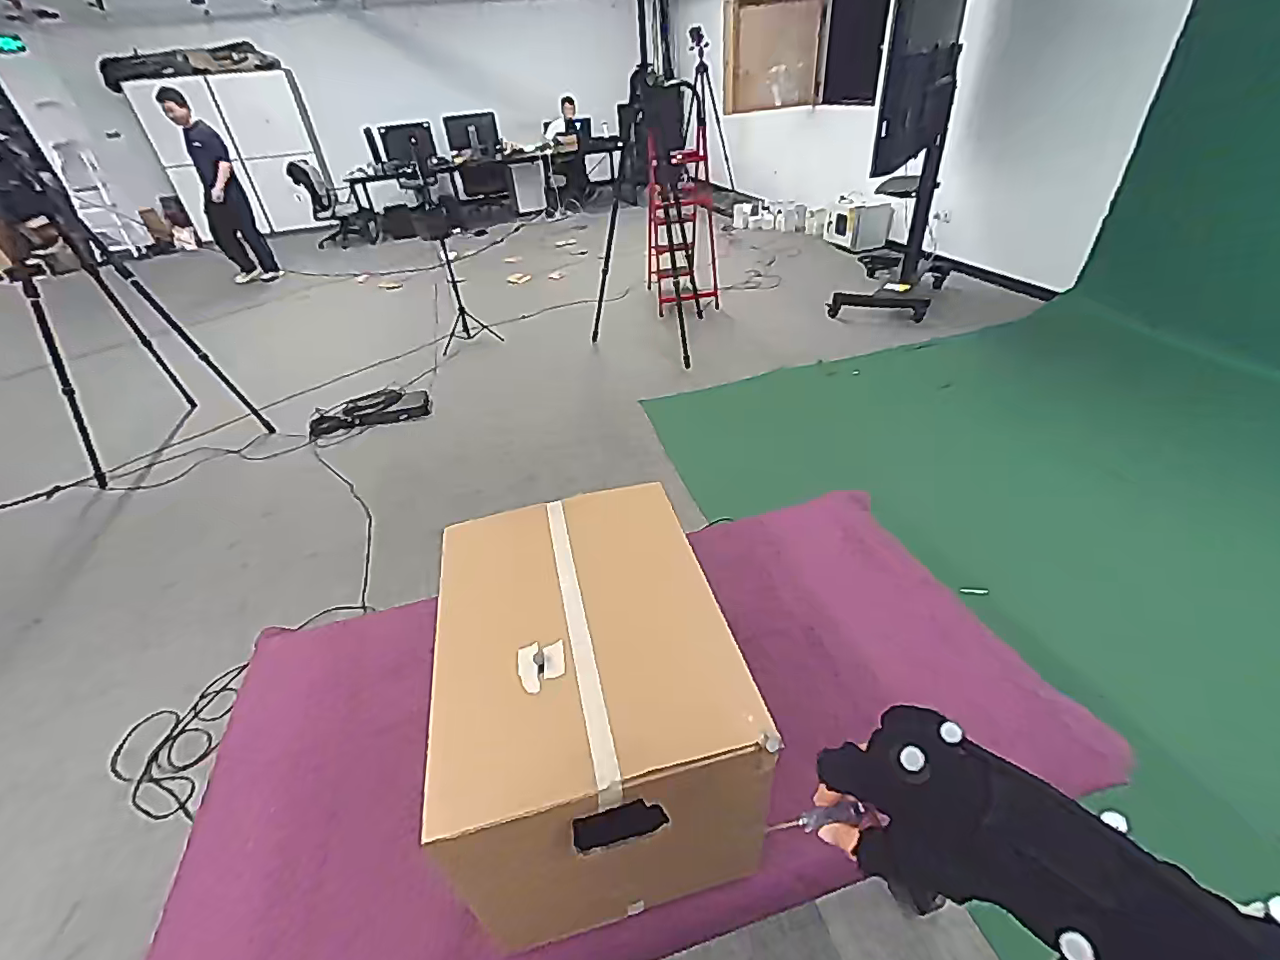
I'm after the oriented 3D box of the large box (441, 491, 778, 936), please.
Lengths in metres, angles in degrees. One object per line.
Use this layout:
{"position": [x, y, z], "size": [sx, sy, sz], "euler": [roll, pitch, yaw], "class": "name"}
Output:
{"position": [-0.060, 0.274, 0.716], "size": [0.320, 0.320, 0.408], "euler": [-12, 38, -9], "class": "large box"}
